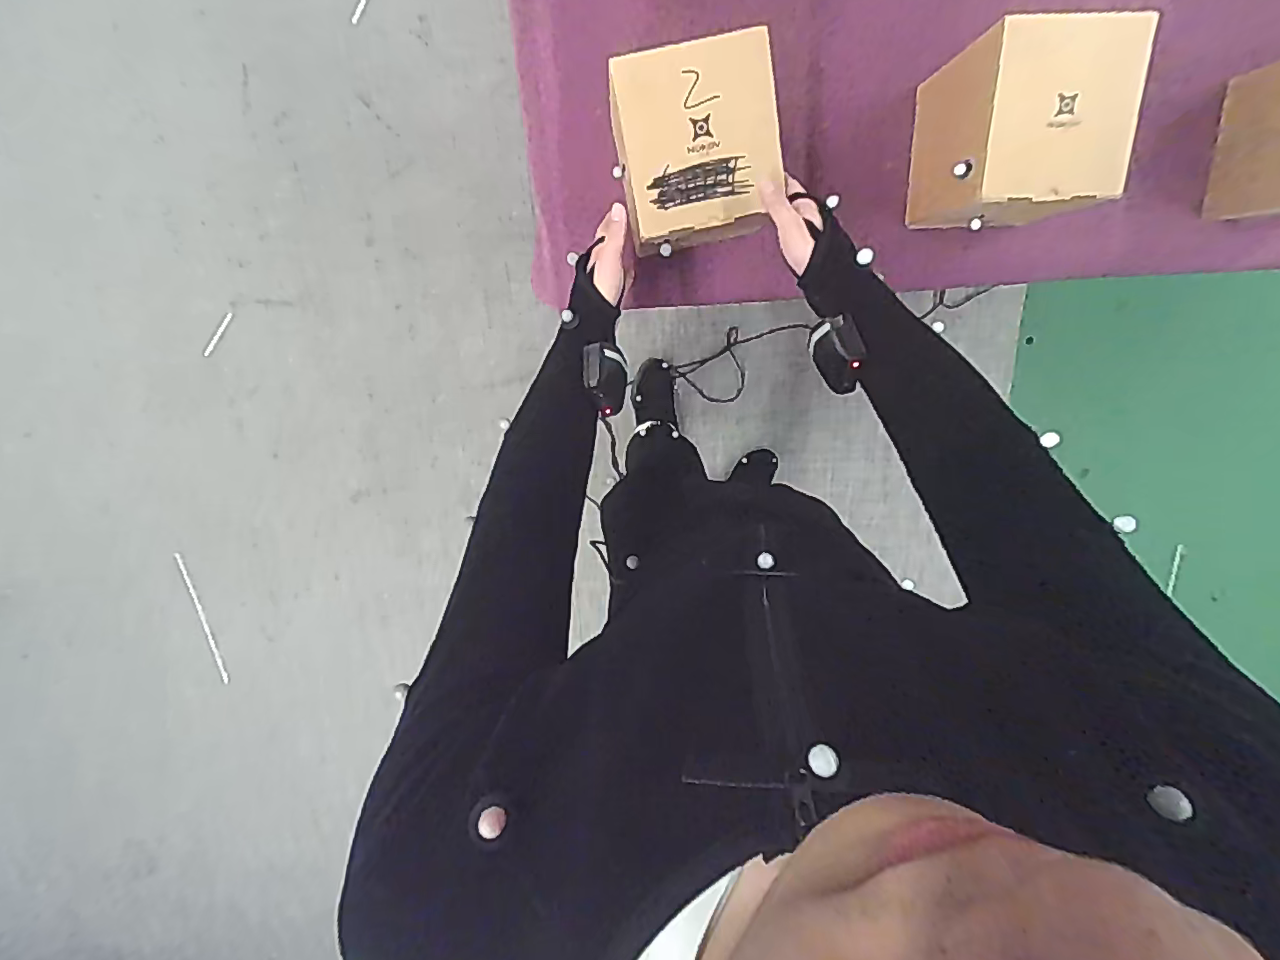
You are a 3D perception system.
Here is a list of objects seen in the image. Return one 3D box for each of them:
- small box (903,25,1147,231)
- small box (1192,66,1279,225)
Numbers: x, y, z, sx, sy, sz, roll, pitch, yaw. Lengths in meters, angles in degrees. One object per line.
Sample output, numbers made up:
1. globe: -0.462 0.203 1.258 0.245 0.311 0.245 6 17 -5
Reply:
1. small box: 0.450 -0.415 0.665 0.168 0.176 0.179 -3 108 -3
2. small box: 0.869 -0.433 0.682 0.168 0.176 0.179 -5 109 0
